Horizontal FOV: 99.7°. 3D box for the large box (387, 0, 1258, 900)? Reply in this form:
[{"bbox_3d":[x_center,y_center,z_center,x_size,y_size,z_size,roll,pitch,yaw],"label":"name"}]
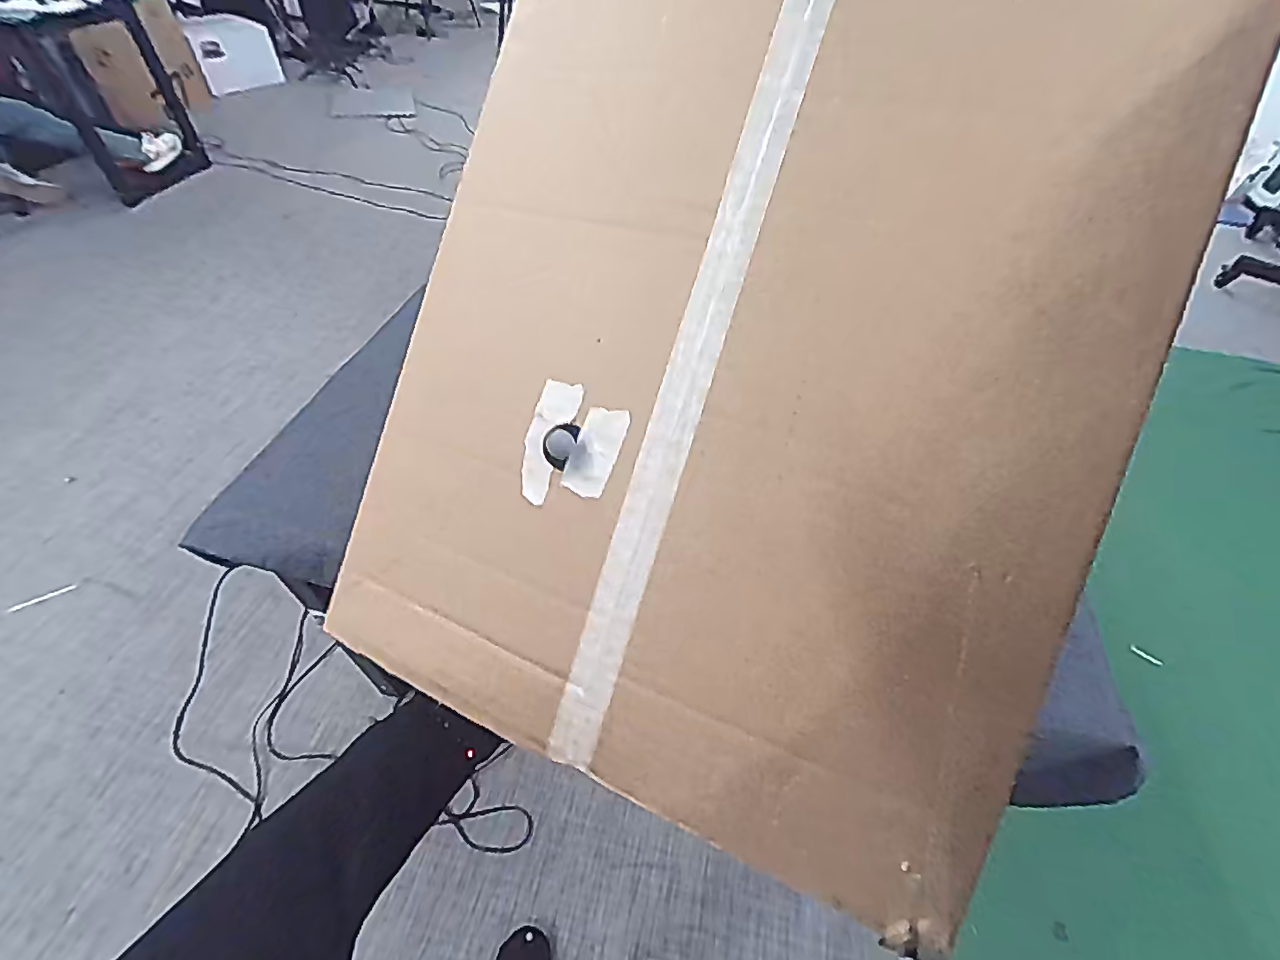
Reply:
[{"bbox_3d":[0.089,-0.053,0.397,0.320,0.320,0.408,17,93,18],"label":"large box"}]
